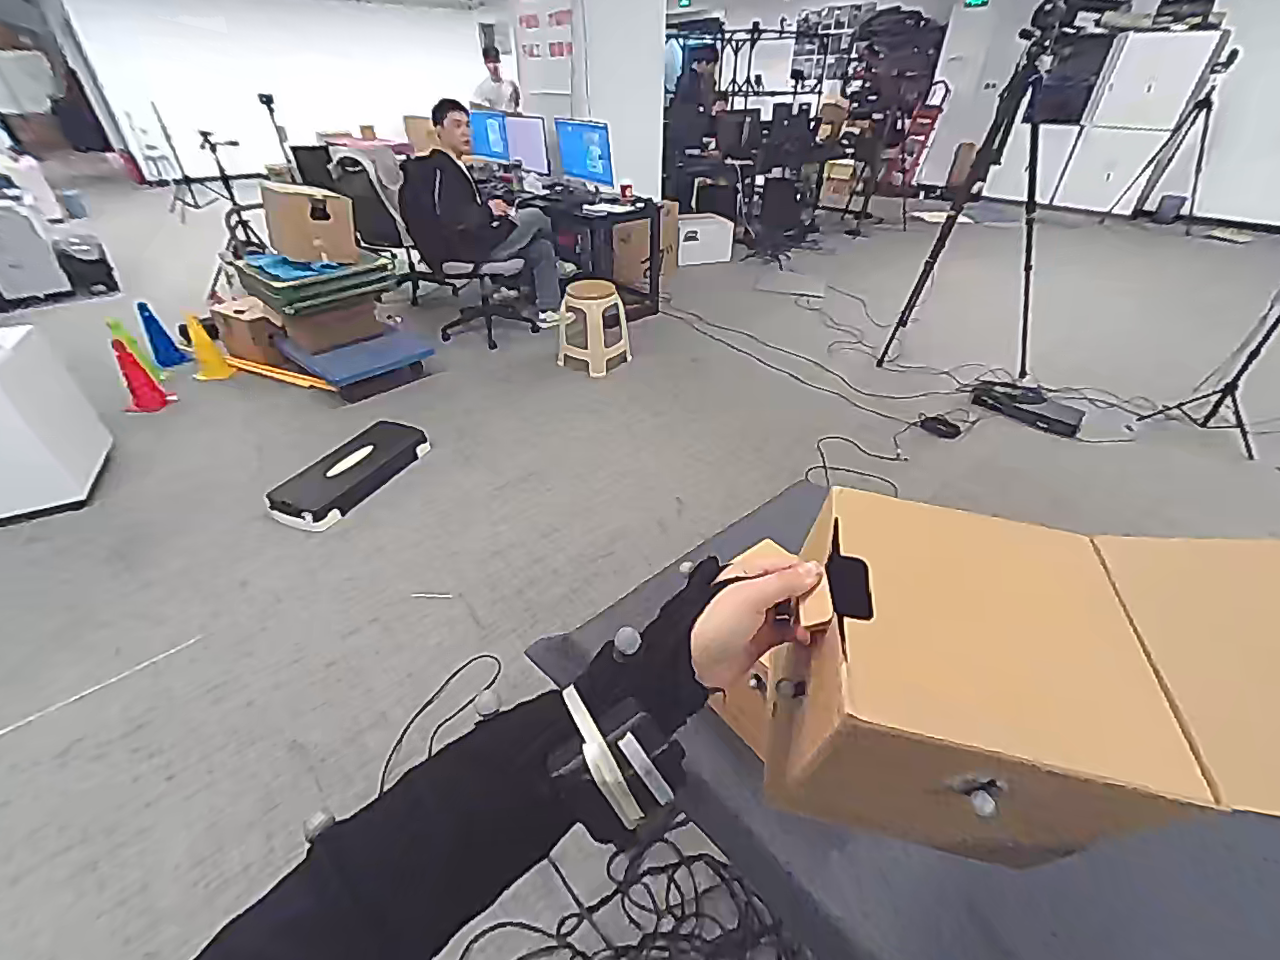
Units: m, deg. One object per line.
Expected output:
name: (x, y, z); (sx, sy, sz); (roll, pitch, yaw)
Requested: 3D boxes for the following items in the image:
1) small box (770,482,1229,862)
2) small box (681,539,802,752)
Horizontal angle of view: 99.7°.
small box: (0.192, 0.129, 0.362); (0.179, 0.176, 0.168); (12, 46, 5)
small box: (0.169, 0.215, 0.714); (0.168, 0.176, 0.179); (-25, 44, -31)
